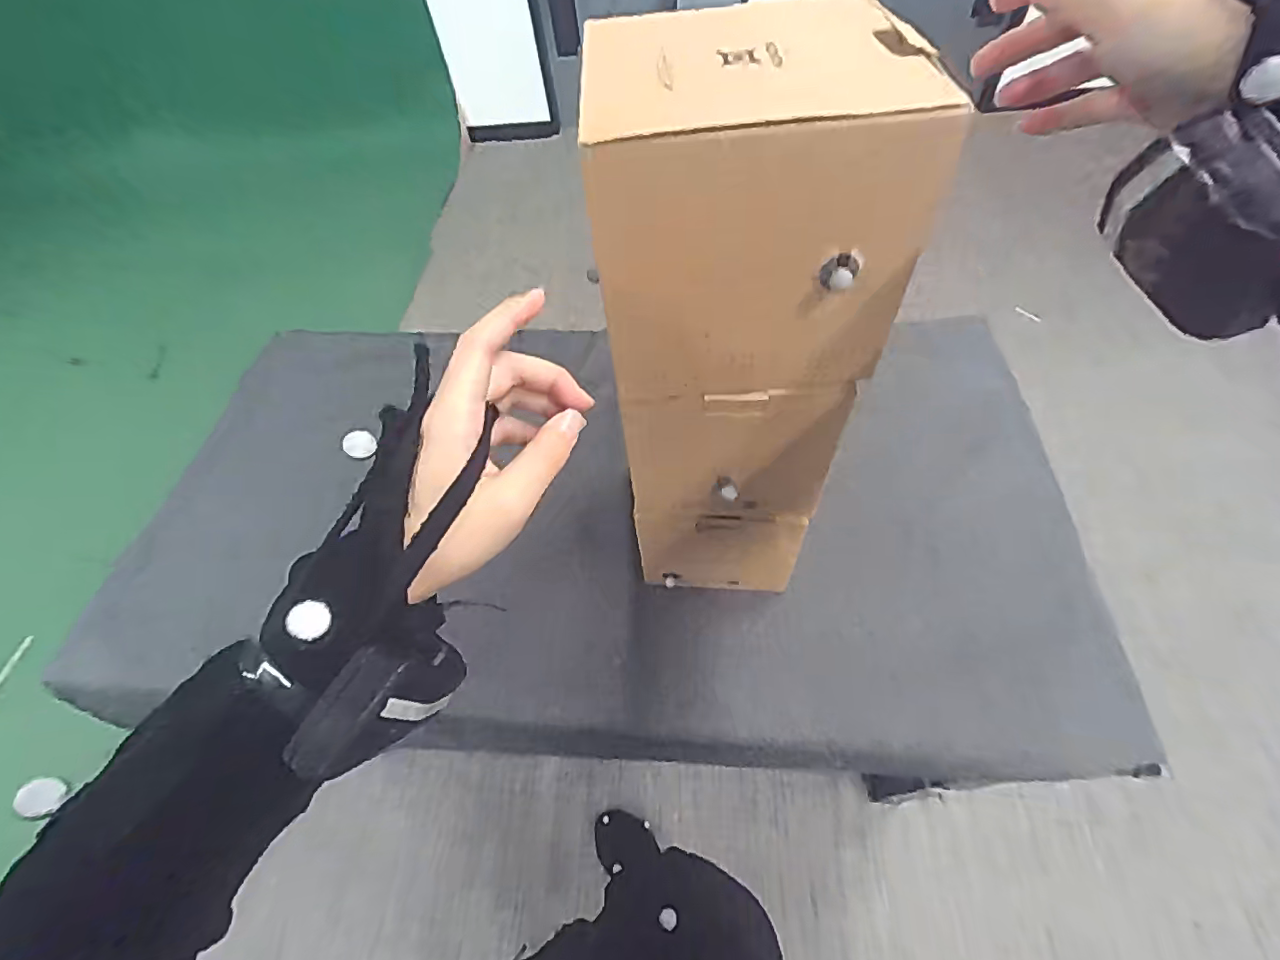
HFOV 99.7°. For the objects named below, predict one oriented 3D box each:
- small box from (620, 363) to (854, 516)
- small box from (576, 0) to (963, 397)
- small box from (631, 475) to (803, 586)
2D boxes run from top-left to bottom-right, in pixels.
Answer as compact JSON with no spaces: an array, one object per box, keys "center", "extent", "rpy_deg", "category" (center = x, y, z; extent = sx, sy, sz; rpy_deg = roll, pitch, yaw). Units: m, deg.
[{"center":[0.076,-0.085,0.487],"extent":[0.168,0.176,0.179],"rpy_deg":[0,56,6],"category":"small box"},{"center":[0.061,-0.173,0.351],"extent":[0.179,0.176,0.168],"rpy_deg":[-5,54,3],"category":"small box"},{"center":[0.087,0.009,0.621],"extent":[0.168,0.176,0.179],"rpy_deg":[2,55,7],"category":"small box"}]
